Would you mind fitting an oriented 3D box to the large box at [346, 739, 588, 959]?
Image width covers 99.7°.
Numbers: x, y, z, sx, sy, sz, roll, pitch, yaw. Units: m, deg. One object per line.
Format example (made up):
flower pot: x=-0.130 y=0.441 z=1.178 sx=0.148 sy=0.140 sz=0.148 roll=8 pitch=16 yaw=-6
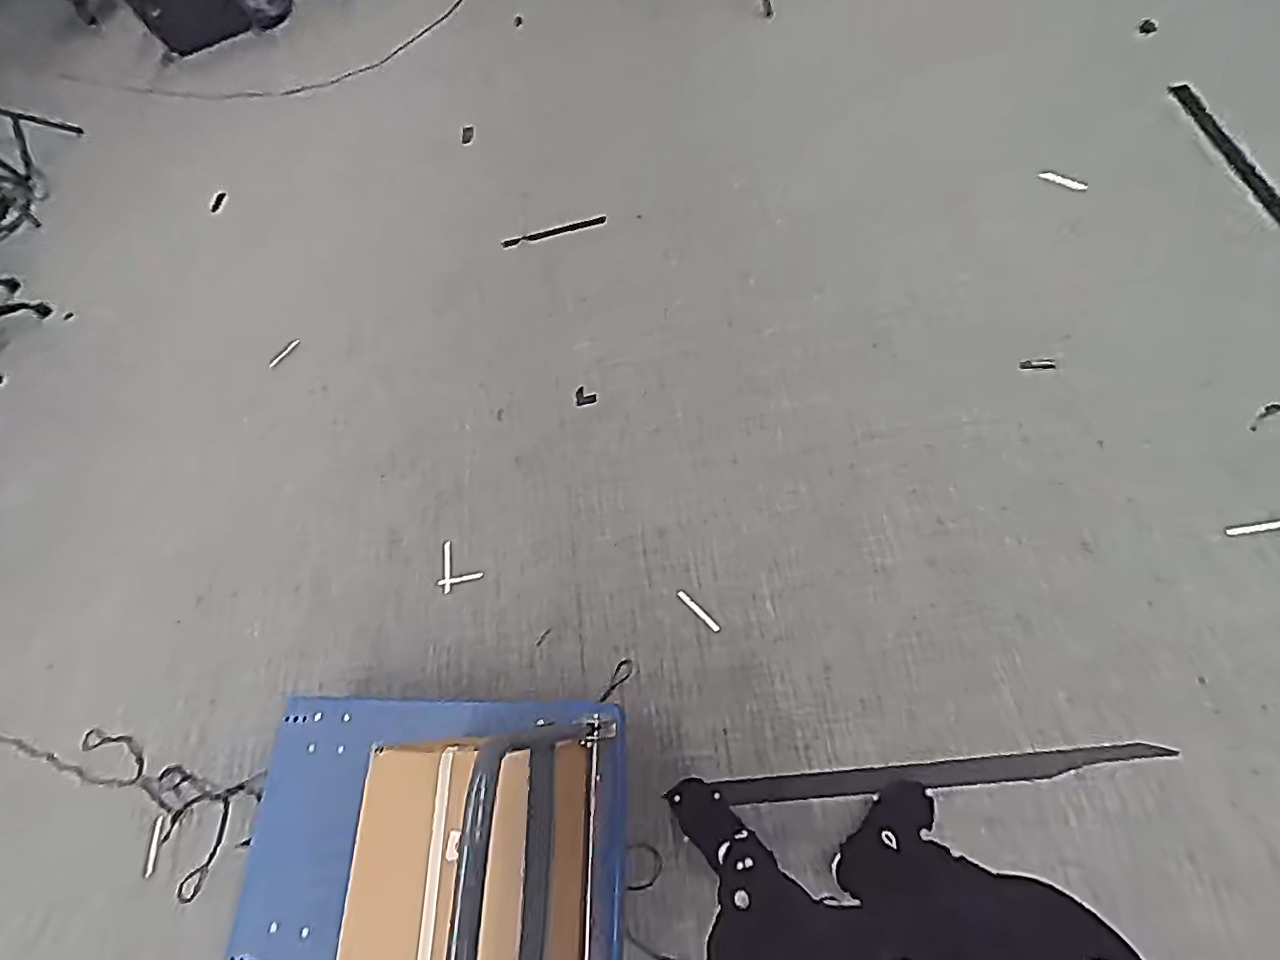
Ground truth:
large box: x=-0.290 y=0.714 z=1.008 sx=0.320 sy=0.320 sz=0.408 roll=-4 pitch=67 yaw=10
